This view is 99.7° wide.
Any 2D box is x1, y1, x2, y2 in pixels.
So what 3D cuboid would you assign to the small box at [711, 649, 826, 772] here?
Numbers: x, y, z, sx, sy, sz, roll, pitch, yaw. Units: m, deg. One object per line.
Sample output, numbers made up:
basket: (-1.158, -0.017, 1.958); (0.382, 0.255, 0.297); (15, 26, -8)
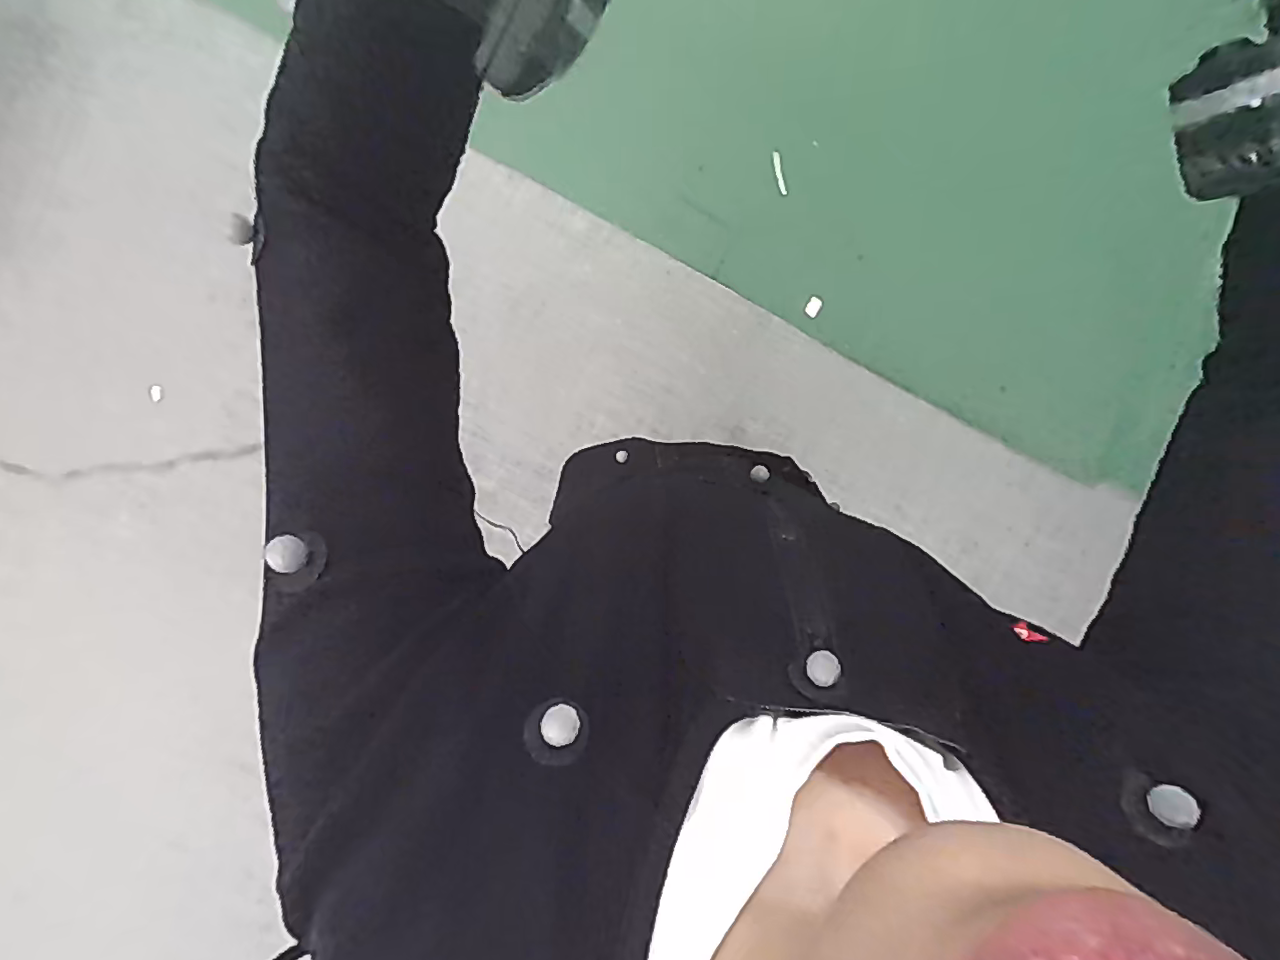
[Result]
small box: (0.281, 0.508, 1.220); (0.179, 0.176, 0.168); (30, 88, 1)
